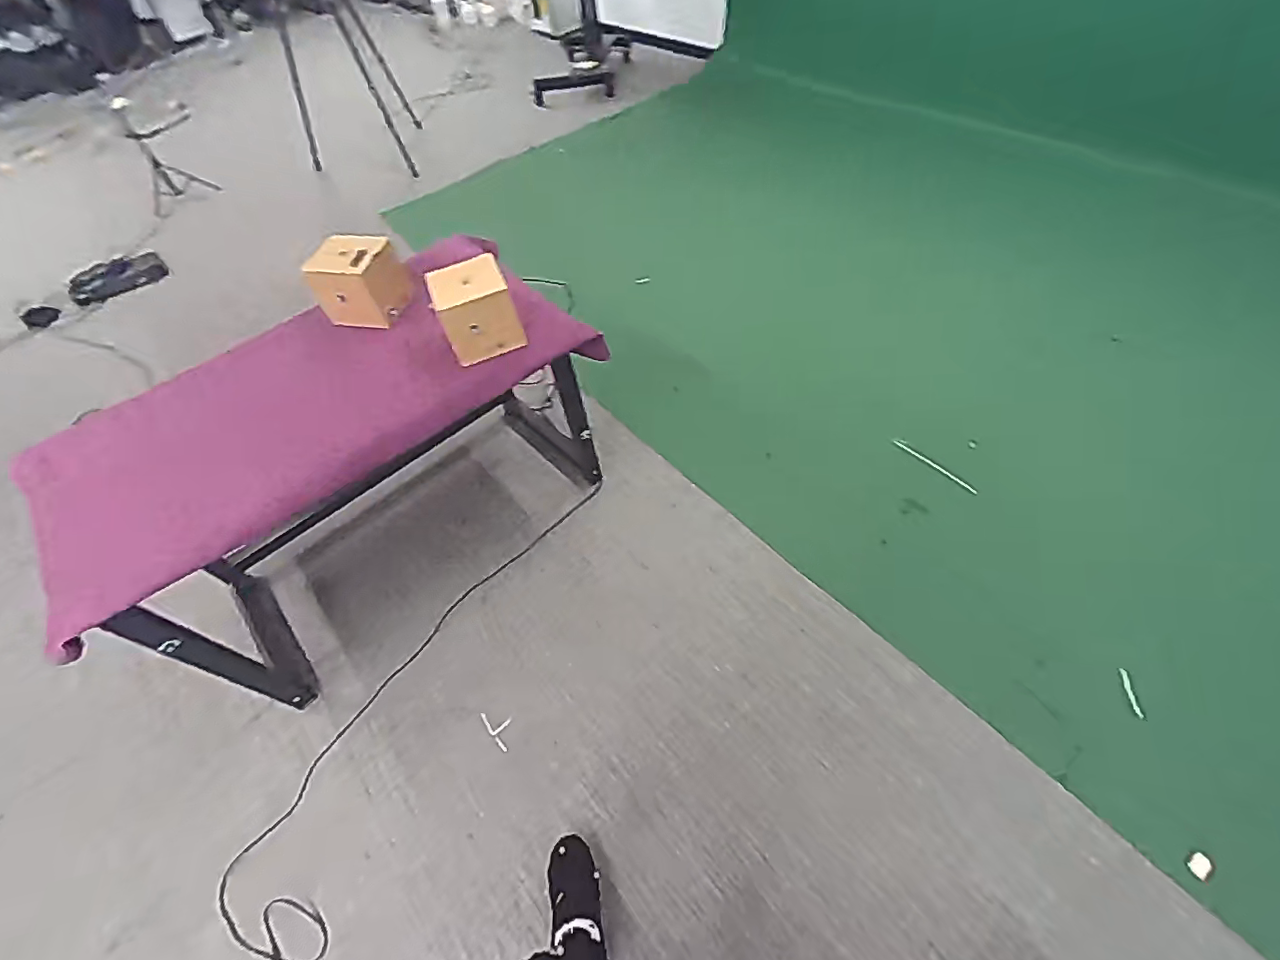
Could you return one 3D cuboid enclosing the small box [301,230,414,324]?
[{"bbox_3d":[-0.734,-0.534,1.431,0.179,0.176,0.168,8,56,11],"label":"small box"}]

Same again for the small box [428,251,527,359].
[{"bbox_3d":[-0.389,-0.416,1.310,0.168,0.176,0.179,-22,53,-8],"label":"small box"}]
